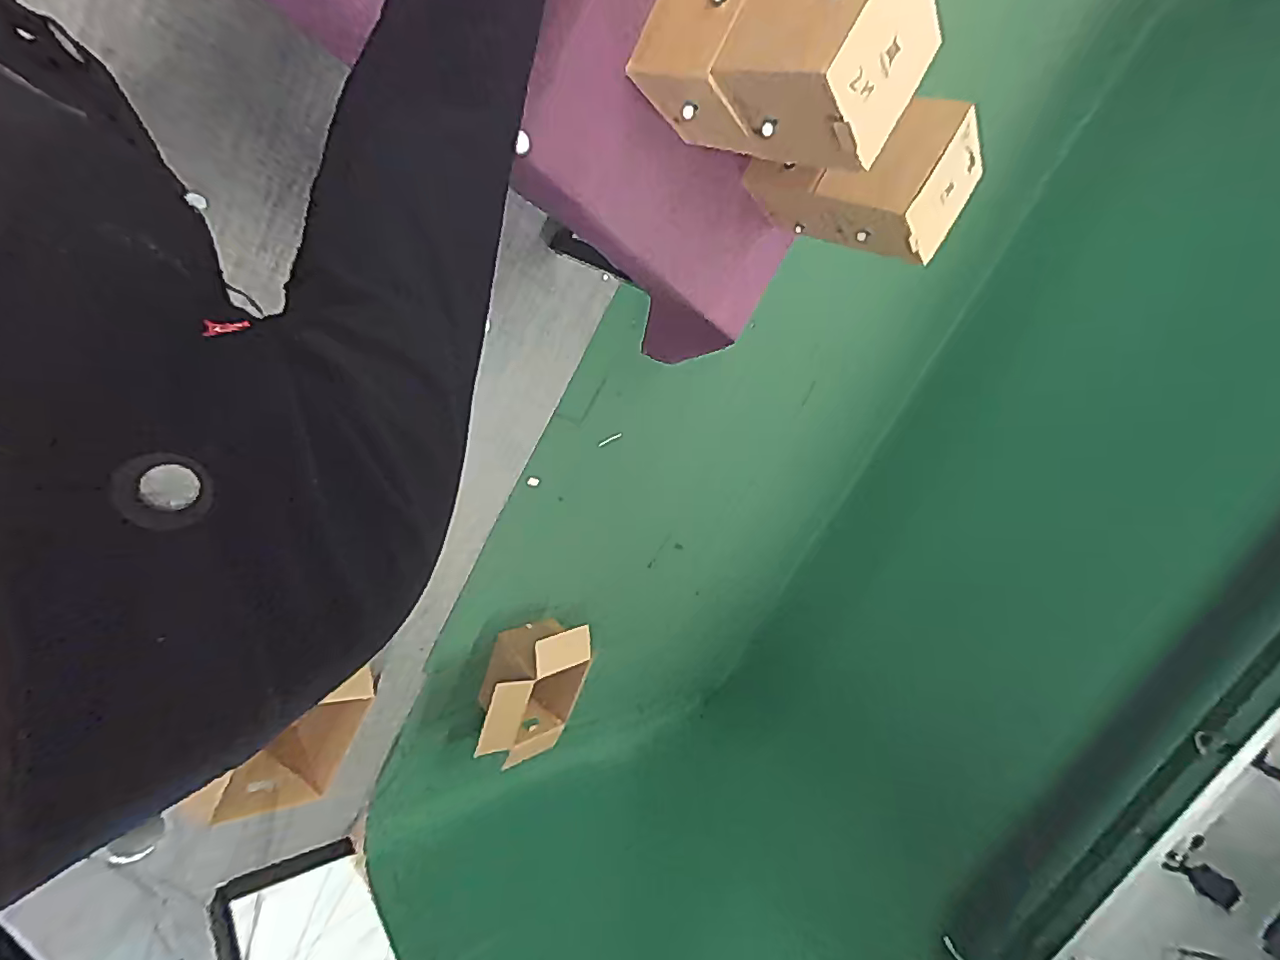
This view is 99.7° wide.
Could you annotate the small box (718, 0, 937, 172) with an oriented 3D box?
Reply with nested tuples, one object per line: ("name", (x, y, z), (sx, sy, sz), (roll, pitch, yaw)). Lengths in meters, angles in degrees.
("small box", (0.227, -0.522, 0.664), (0.168, 0.176, 0.179), (18, 105, -52))

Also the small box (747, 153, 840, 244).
("small box", (0.322, -0.578, 1.004), (0.168, 0.176, 0.179), (18, 105, -53))

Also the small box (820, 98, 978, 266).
("small box", (0.424, -0.497, 0.904), (0.168, 0.176, 0.179), (17, 107, -54))

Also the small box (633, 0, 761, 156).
("small box", (0.115, -0.598, 0.759), (0.168, 0.176, 0.179), (13, 109, -52))
